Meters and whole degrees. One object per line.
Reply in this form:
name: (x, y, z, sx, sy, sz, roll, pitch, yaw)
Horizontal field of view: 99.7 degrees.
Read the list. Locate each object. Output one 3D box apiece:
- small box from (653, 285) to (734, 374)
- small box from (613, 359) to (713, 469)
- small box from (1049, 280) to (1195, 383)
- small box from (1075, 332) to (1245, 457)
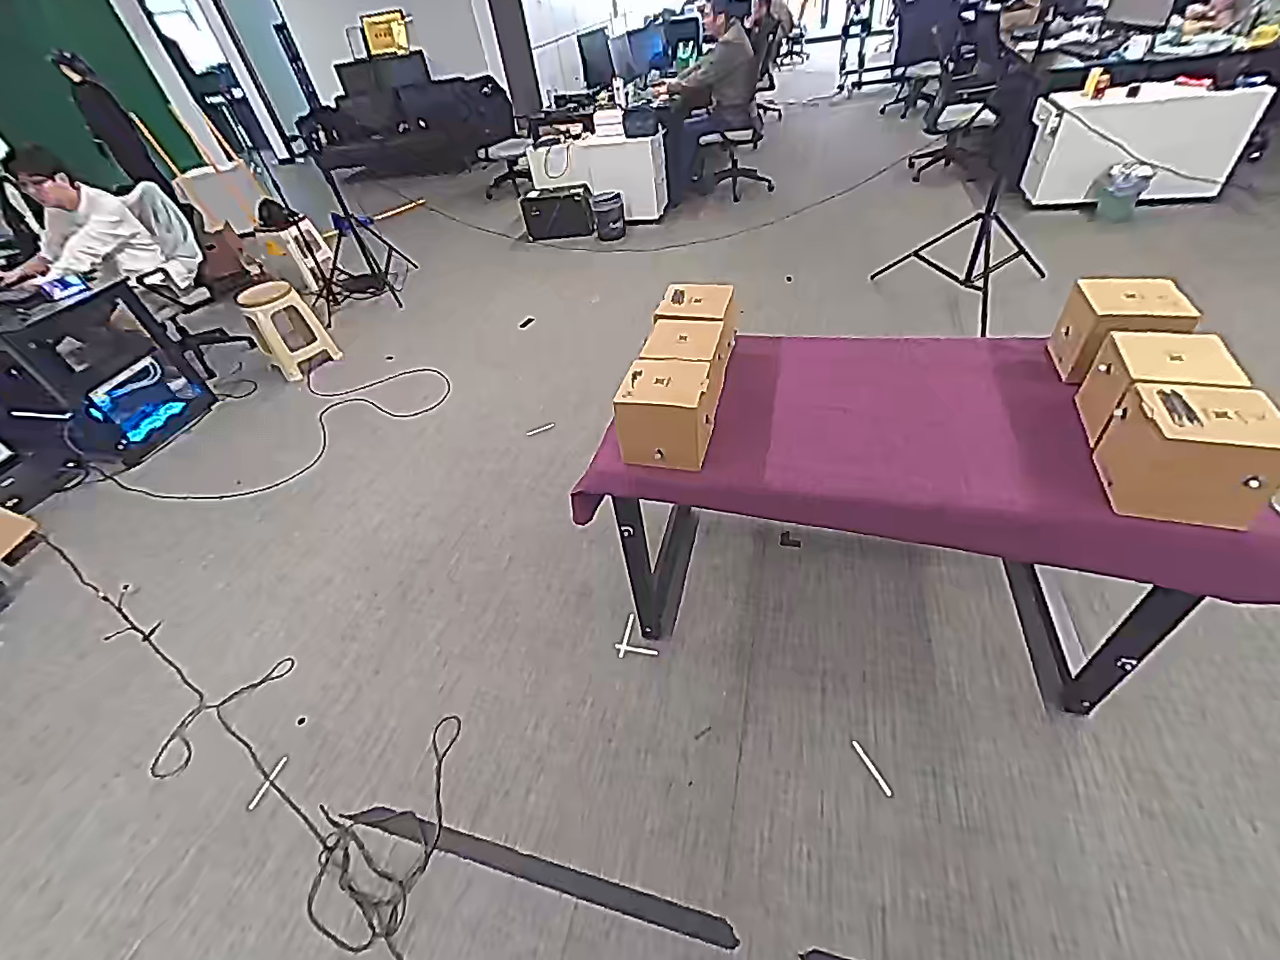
small box: (0.145, -0.395, 1.421, 0.179, 0.176, 0.168, 8, 48, 16)
small box: (0.057, -0.141, 1.171, 0.179, 0.176, 0.168, 7, 44, 15)
small box: (1.034, -0.321, 1.185, 0.179, 0.176, 0.168, 7, 46, 16)
small box: (0.976, -0.164, 1.038, 0.168, 0.176, 0.179, 9, 45, 20)
